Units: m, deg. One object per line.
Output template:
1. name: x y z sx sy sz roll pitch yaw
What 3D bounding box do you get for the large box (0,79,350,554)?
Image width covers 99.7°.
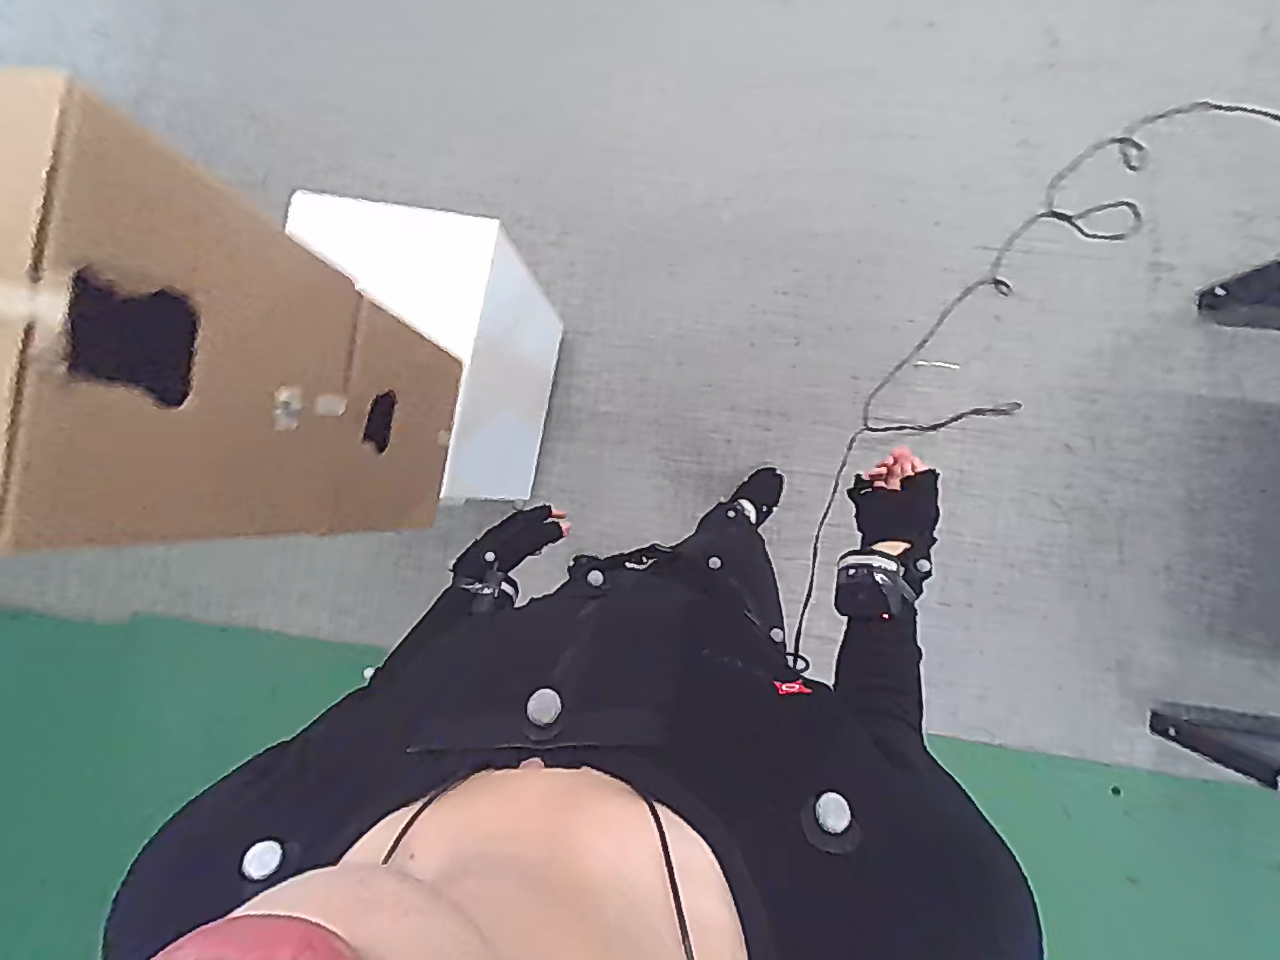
1. large box: -0.559 -0.114 0.508 0.408 0.320 0.320 5 87 5
